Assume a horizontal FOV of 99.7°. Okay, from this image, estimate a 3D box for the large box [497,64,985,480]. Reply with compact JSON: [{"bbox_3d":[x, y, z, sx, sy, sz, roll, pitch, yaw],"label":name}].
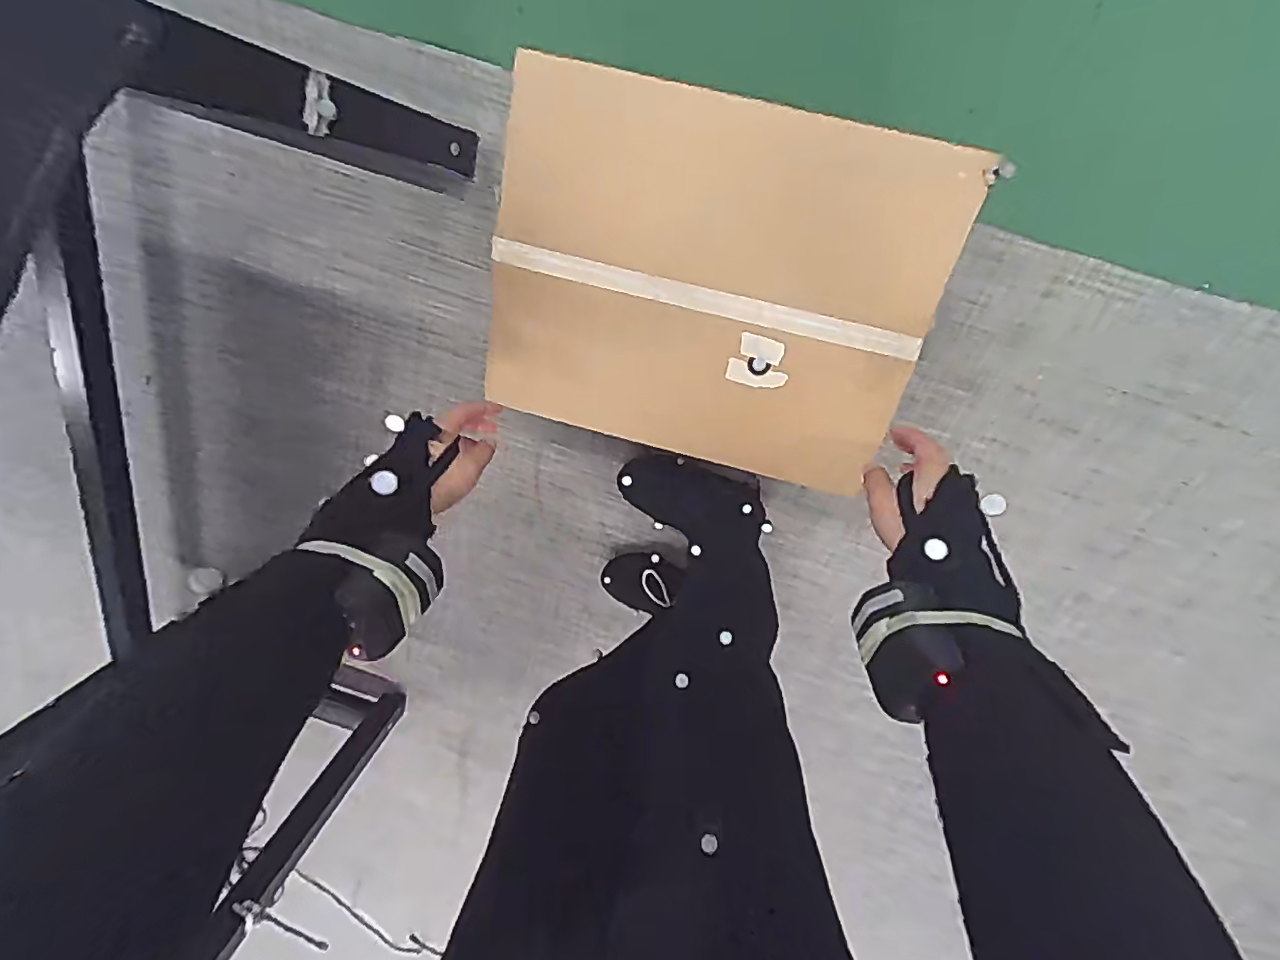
[{"bbox_3d":[0.083,-0.234,0.649,0.408,0.320,0.320,14,114,3],"label":"large box"}]
